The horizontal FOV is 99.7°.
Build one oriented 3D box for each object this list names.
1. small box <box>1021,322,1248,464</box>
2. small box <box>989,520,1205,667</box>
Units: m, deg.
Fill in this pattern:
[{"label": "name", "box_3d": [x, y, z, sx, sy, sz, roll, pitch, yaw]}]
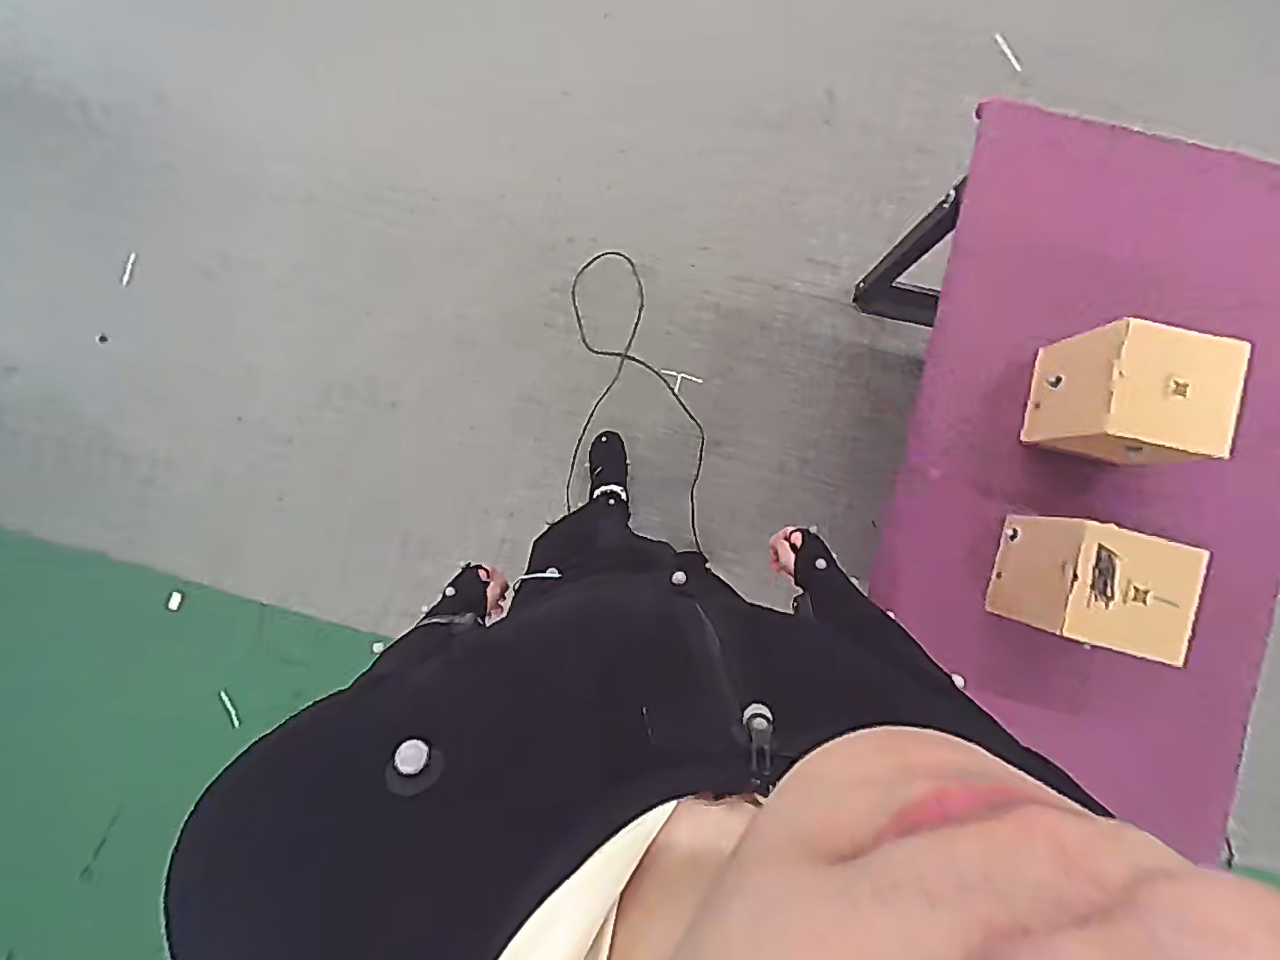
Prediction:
[{"label": "small box", "box_3d": [0.738, -0.121, 0.826, 0.179, 0.176, 0.168, 12, 89, 2]}, {"label": "small box", "box_3d": [0.673, 0.161, 0.818, 0.179, 0.176, 0.168, 14, 88, 2]}]
